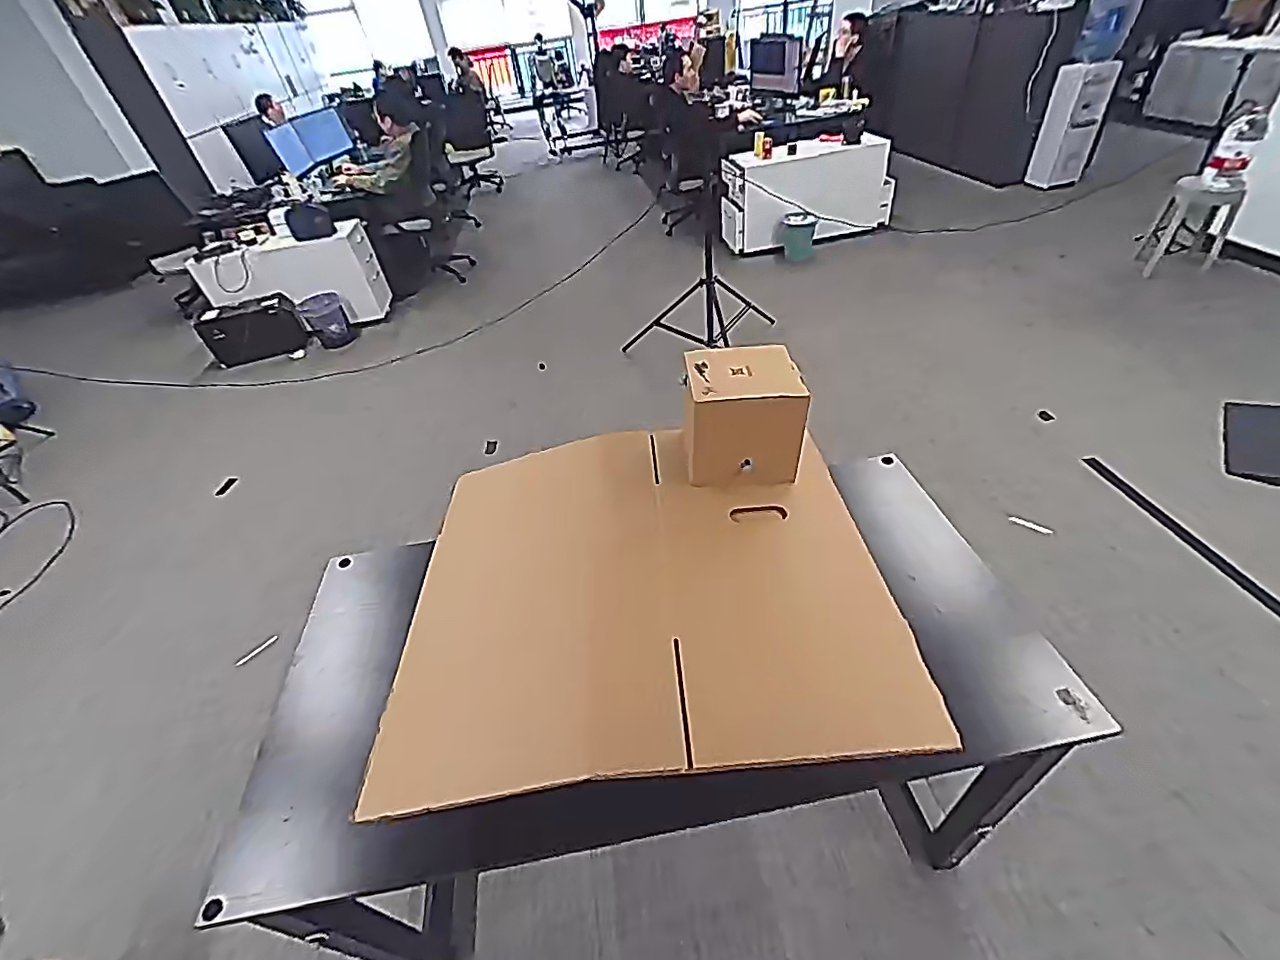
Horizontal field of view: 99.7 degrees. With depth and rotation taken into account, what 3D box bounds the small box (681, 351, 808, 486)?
[{"bbox_3d":[0.165,-0.103,0.917,0.179,0.176,0.168,-3,39,0],"label":"small box"}]
